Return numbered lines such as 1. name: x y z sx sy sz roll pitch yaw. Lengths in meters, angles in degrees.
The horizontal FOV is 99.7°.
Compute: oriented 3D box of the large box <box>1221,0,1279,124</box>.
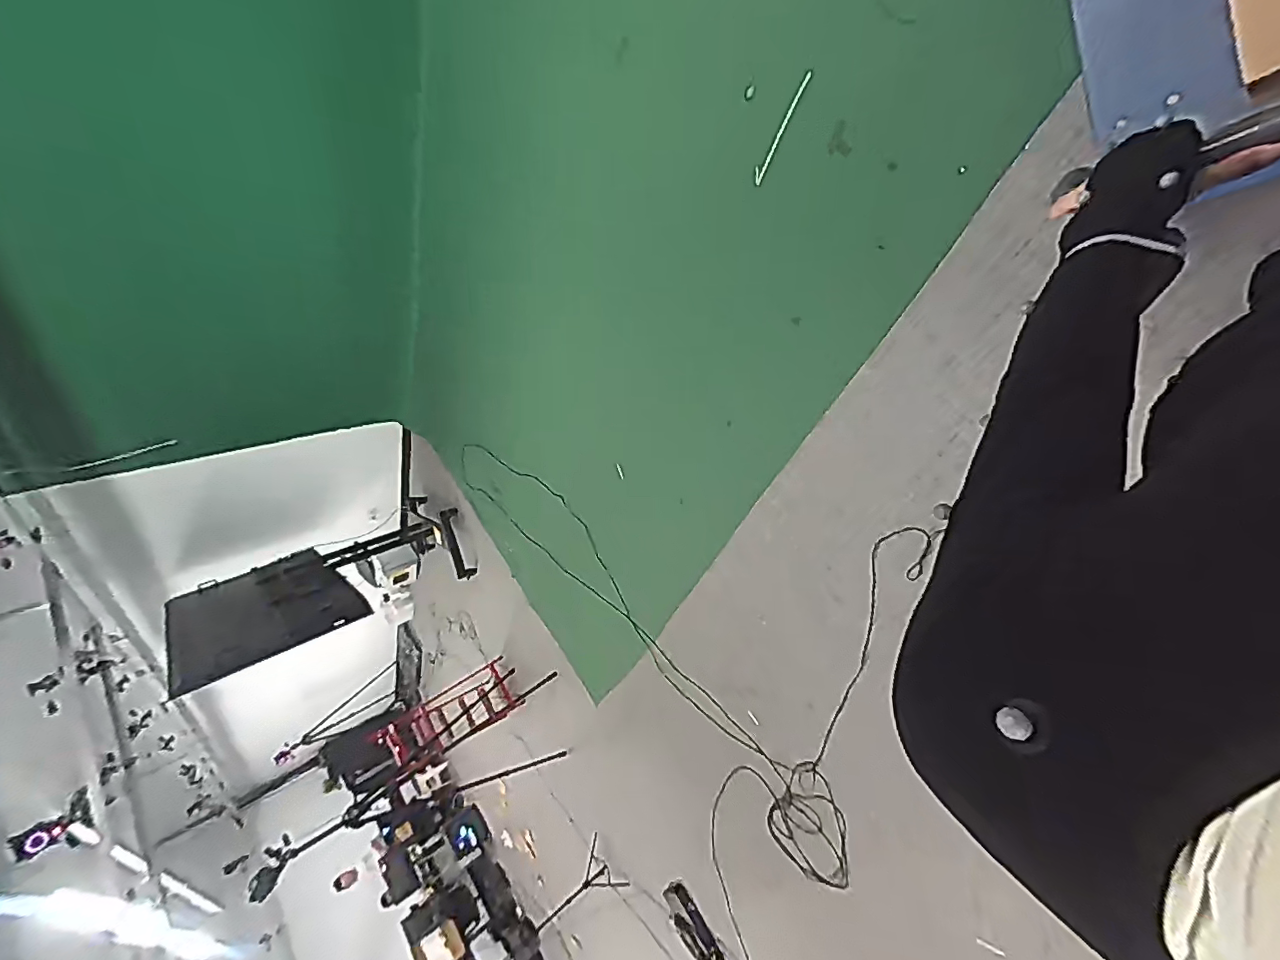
1. large box: 0.976 -0.769 0.695 0.320 0.320 0.408 -10 97 51
